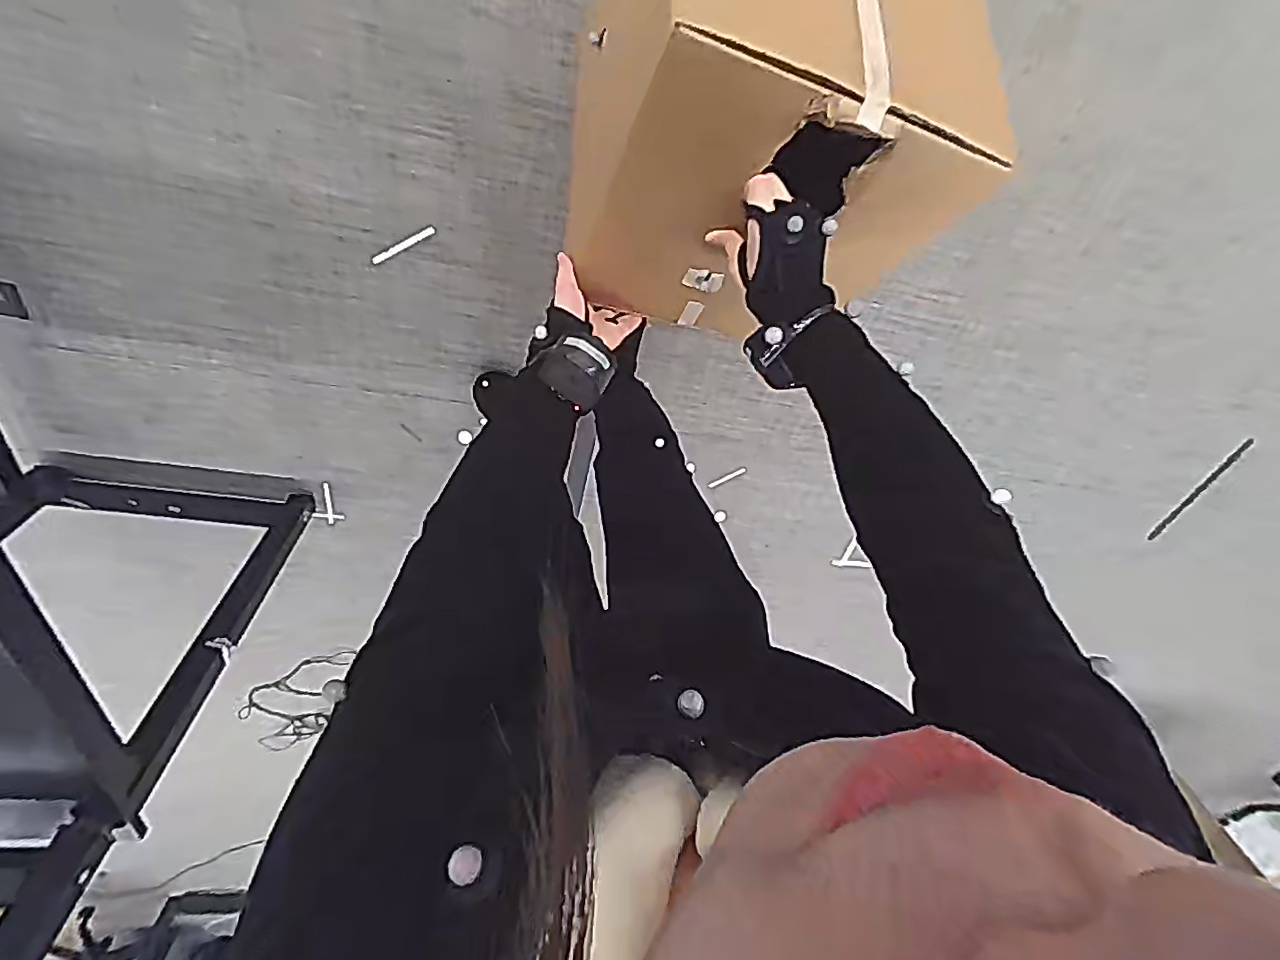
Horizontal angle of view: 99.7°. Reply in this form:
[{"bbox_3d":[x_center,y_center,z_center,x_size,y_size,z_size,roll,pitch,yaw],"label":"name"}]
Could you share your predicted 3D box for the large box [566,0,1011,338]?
[{"bbox_3d":[0.107,-0.419,0.573,0.320,0.408,0.320,7,163,-20],"label":"large box"}]
